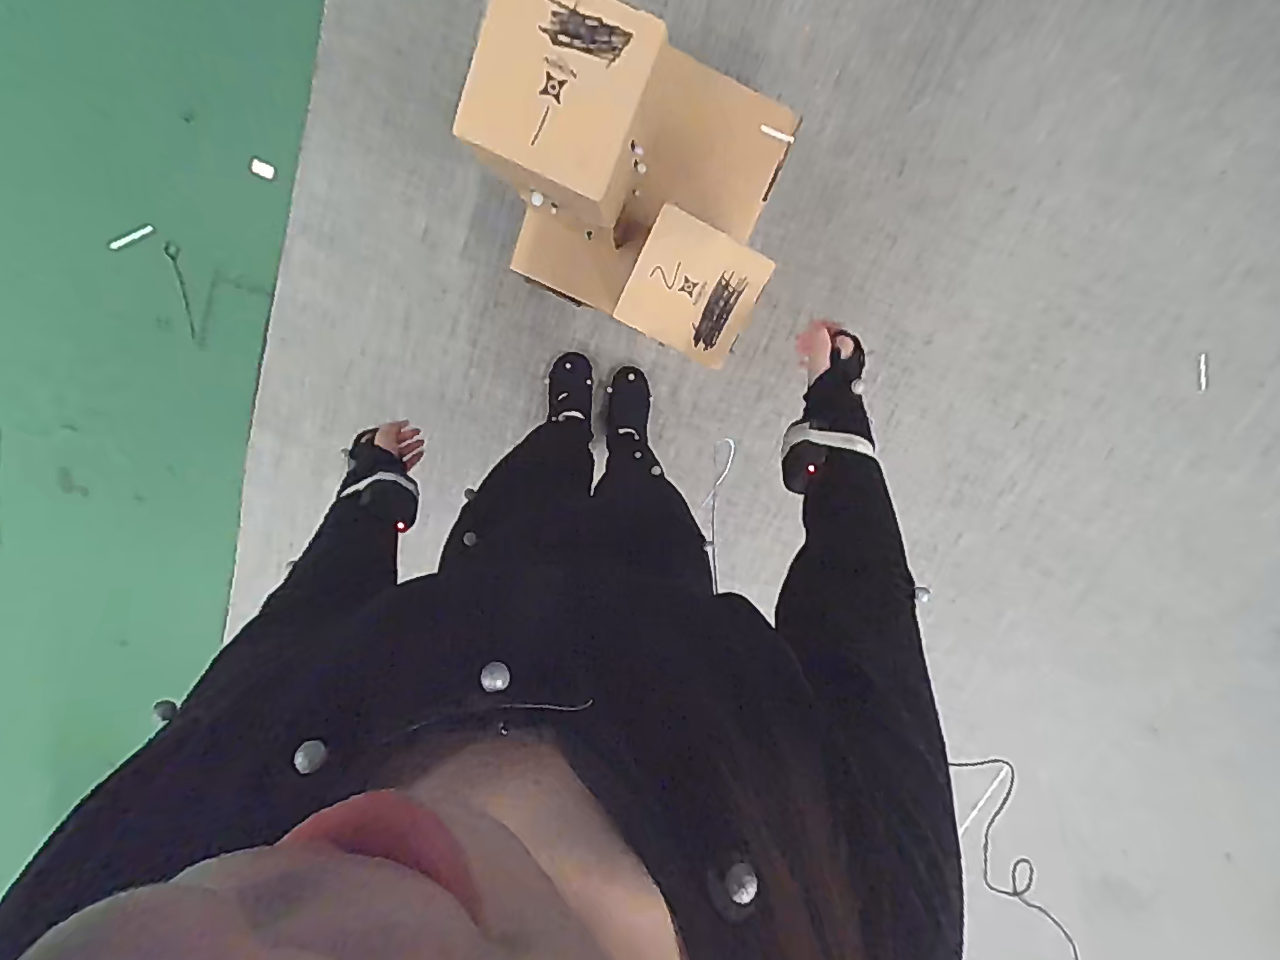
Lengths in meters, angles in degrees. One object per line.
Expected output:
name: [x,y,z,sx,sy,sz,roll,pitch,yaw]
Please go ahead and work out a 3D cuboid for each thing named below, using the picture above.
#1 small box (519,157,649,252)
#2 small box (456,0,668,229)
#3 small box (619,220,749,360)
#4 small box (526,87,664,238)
small box: [-0.086,-0.515,0.926,0.168,0.176,0.179,23,103,-7]
small box: [-0.082,-0.415,0.615,0.168,0.176,0.179,23,105,-7]
small box: [0.069,-0.334,0.977,0.168,0.176,0.179,25,103,-7]
small box: [-0.079,-0.471,0.769,0.168,0.176,0.179,23,106,-7]
